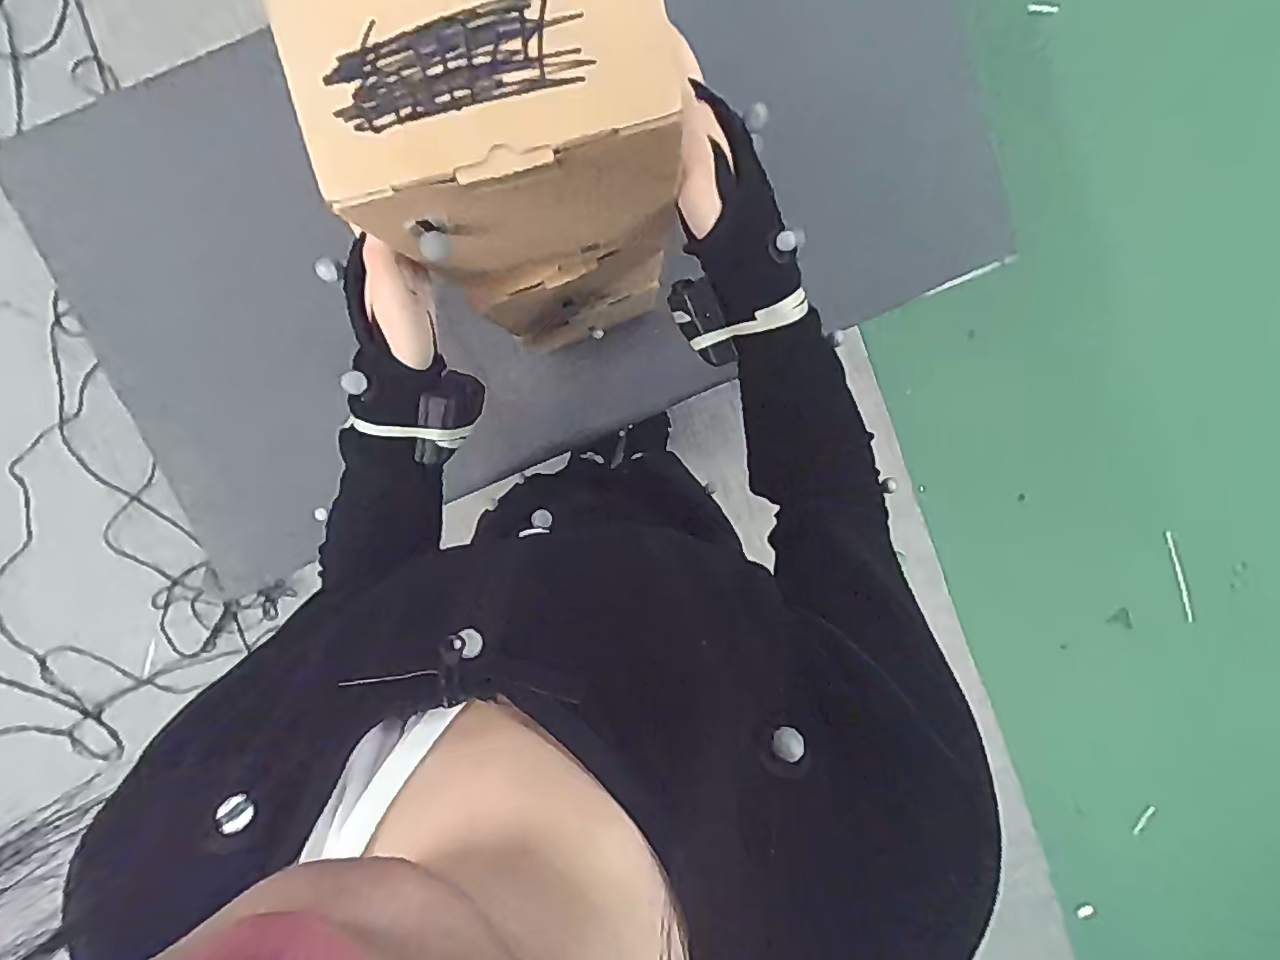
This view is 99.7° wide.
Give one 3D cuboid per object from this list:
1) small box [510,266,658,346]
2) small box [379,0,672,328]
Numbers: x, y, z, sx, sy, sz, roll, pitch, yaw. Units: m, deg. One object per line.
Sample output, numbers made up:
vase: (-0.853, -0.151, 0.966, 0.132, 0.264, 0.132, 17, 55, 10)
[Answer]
small box: (-0.090, -0.274, 0.637, 0.168, 0.176, 0.179, -23, 100, 2)
small box: (-0.086, -0.253, 0.476, 0.168, 0.176, 0.179, -23, 100, 1)
